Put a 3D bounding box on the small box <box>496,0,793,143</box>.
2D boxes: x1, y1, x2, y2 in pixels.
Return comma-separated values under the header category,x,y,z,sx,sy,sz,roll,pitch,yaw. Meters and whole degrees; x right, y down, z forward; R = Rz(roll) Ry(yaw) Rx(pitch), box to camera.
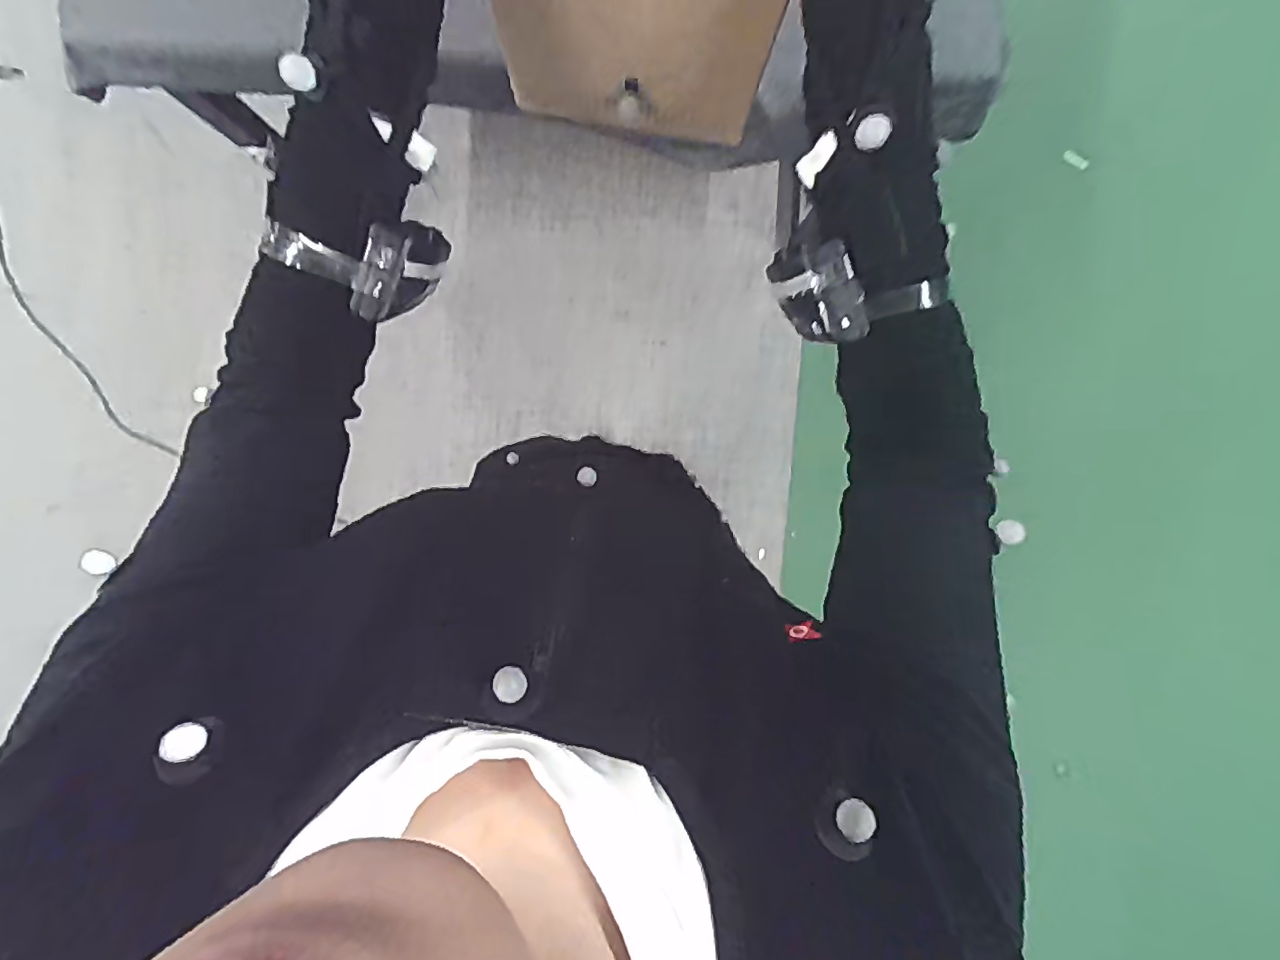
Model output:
category,x,y,z,sx,sy,sz,roll,pitch,yaw
small box,0.008,-0.352,0.342,0.179,0.176,0.168,8,87,-3
